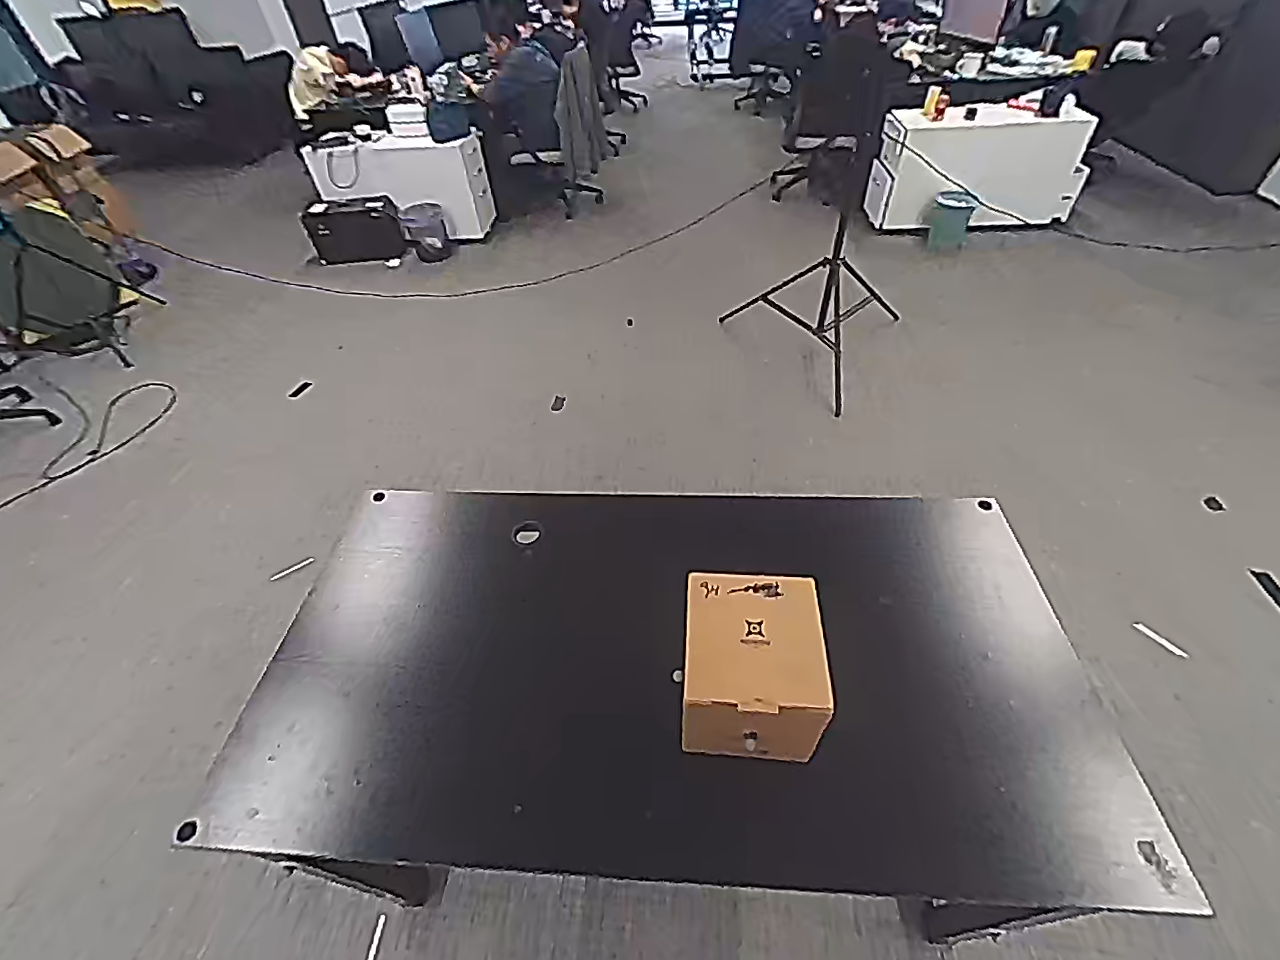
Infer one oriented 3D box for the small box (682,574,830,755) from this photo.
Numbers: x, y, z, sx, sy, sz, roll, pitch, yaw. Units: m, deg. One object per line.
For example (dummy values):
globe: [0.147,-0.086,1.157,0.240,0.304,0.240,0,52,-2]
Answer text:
small box: [0.143,0.245,0.714,0.168,0.176,0.179,1,46,6]
